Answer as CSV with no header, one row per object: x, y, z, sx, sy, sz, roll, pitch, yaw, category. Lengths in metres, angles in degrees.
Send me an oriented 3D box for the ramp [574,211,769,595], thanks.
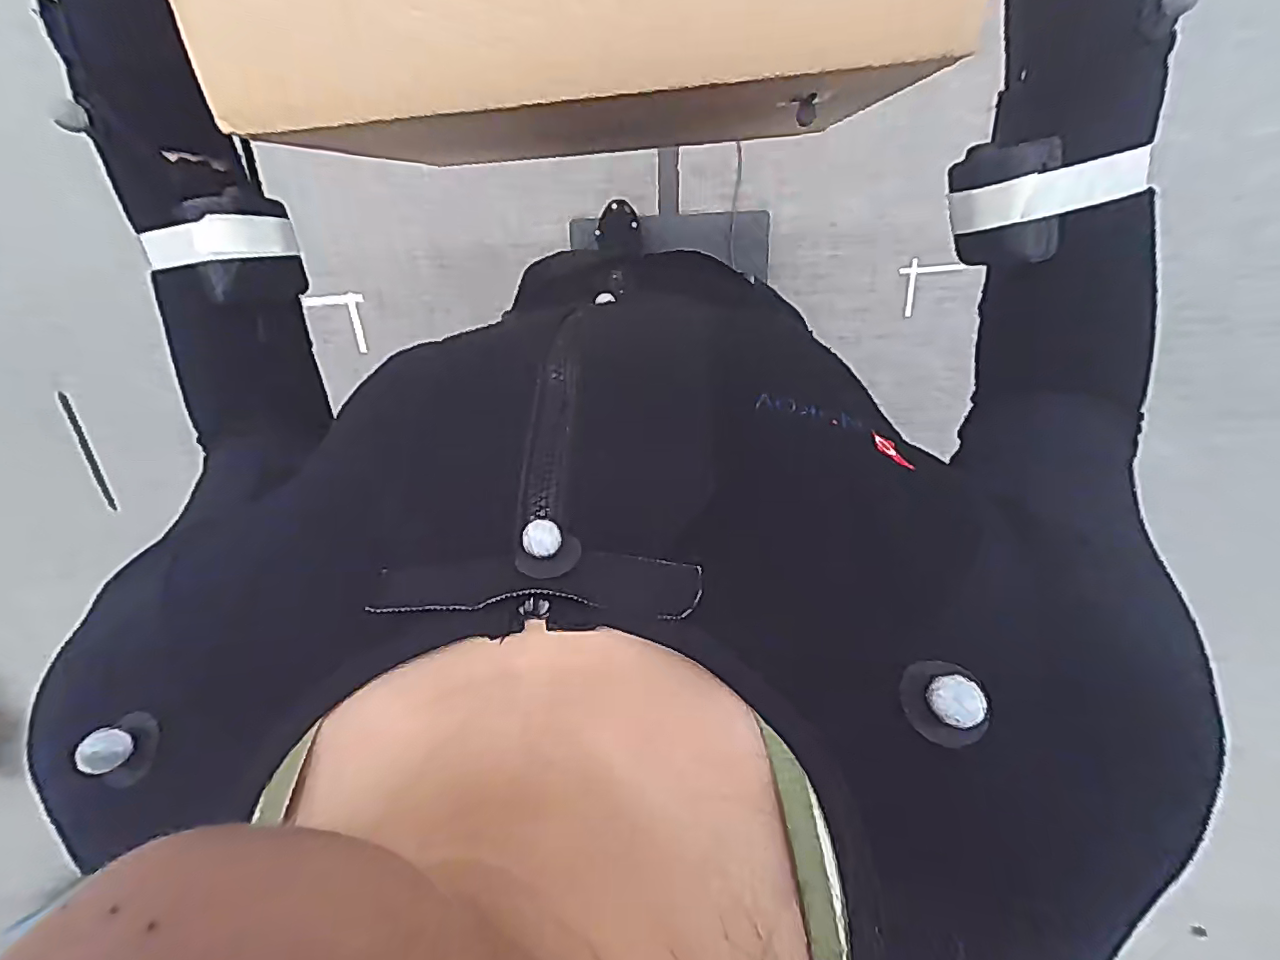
0.084,-0.166,1.438,0.509,0.206,0.991,-1,112,7,ramp

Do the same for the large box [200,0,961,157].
-0.036,-0.419,0.360,0.408,0.320,0.320,-2,117,5,large box
